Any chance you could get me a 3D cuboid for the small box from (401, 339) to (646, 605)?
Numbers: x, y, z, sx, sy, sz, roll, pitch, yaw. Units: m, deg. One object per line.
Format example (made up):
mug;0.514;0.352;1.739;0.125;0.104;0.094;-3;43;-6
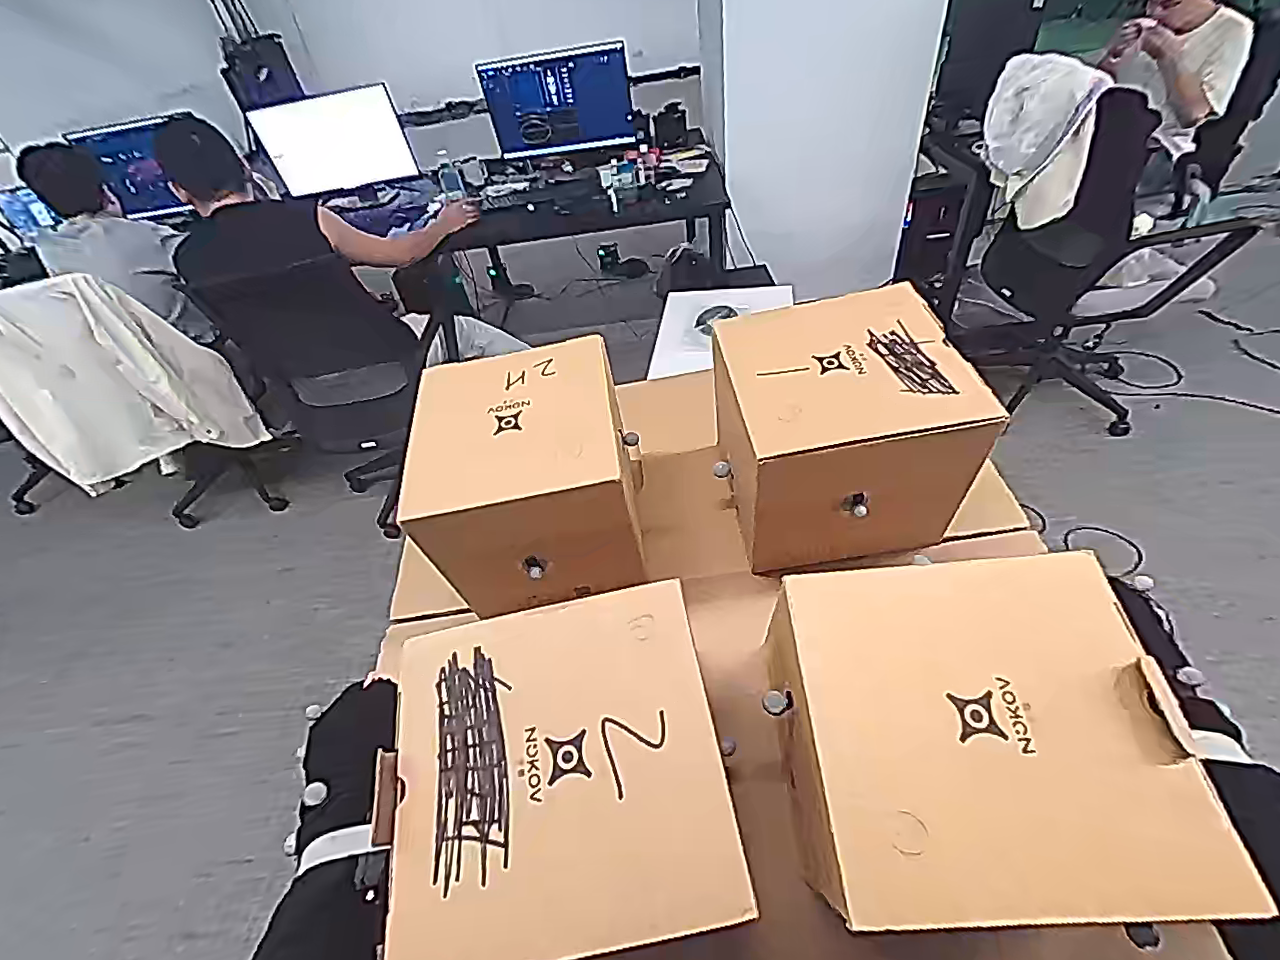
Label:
small box;-0.092;0.002;0.501;0.168;0.176;0.179;-10;51;2
